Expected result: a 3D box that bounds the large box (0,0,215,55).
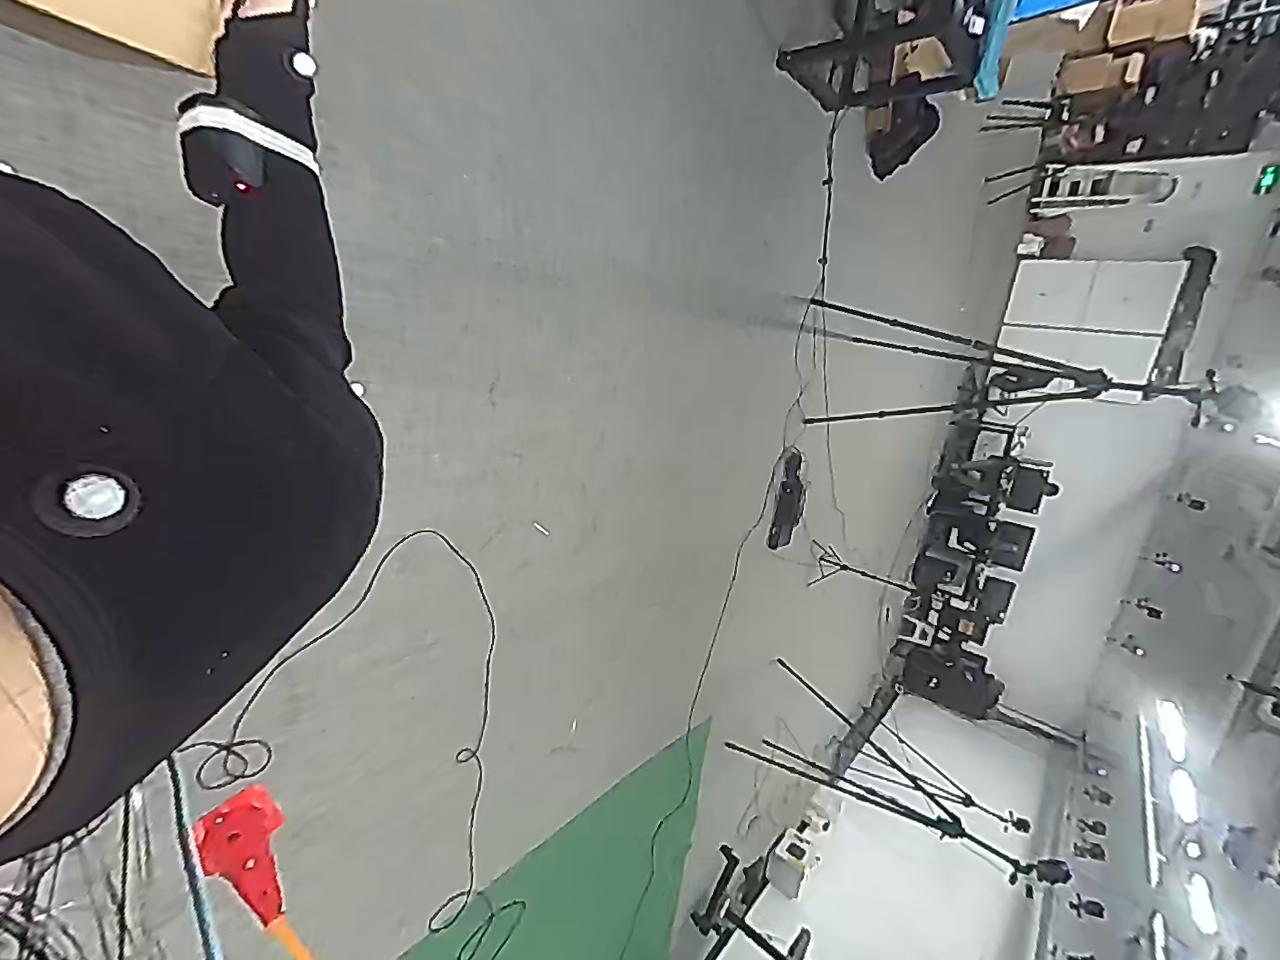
[{"bbox_3d":[-0.520,-0.501,0.284,0.408,0.320,0.320,-13,125,-54],"label":"large box"}]
